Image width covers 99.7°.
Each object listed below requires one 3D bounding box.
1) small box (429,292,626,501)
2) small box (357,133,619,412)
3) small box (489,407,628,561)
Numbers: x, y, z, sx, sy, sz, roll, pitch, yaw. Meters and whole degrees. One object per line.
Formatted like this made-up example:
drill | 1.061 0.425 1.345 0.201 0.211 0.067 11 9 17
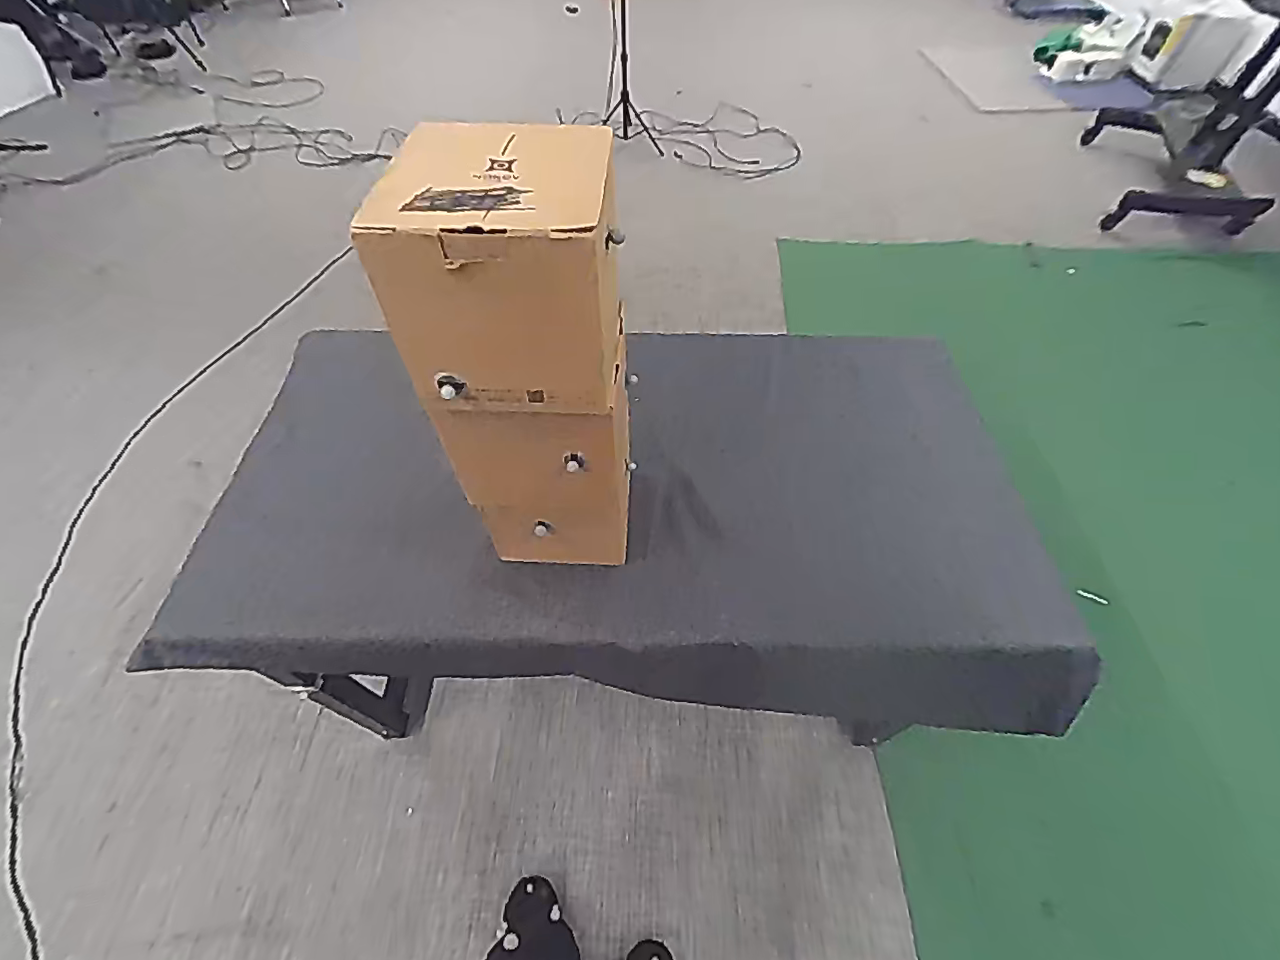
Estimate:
small box | -0.104 -0.088 0.593 0.179 0.176 0.168 -1 54 -2
small box | -0.107 -0.176 0.474 0.168 0.176 0.179 2 52 1
small box | -0.106 0.002 0.750 0.179 0.176 0.168 0 53 -1
